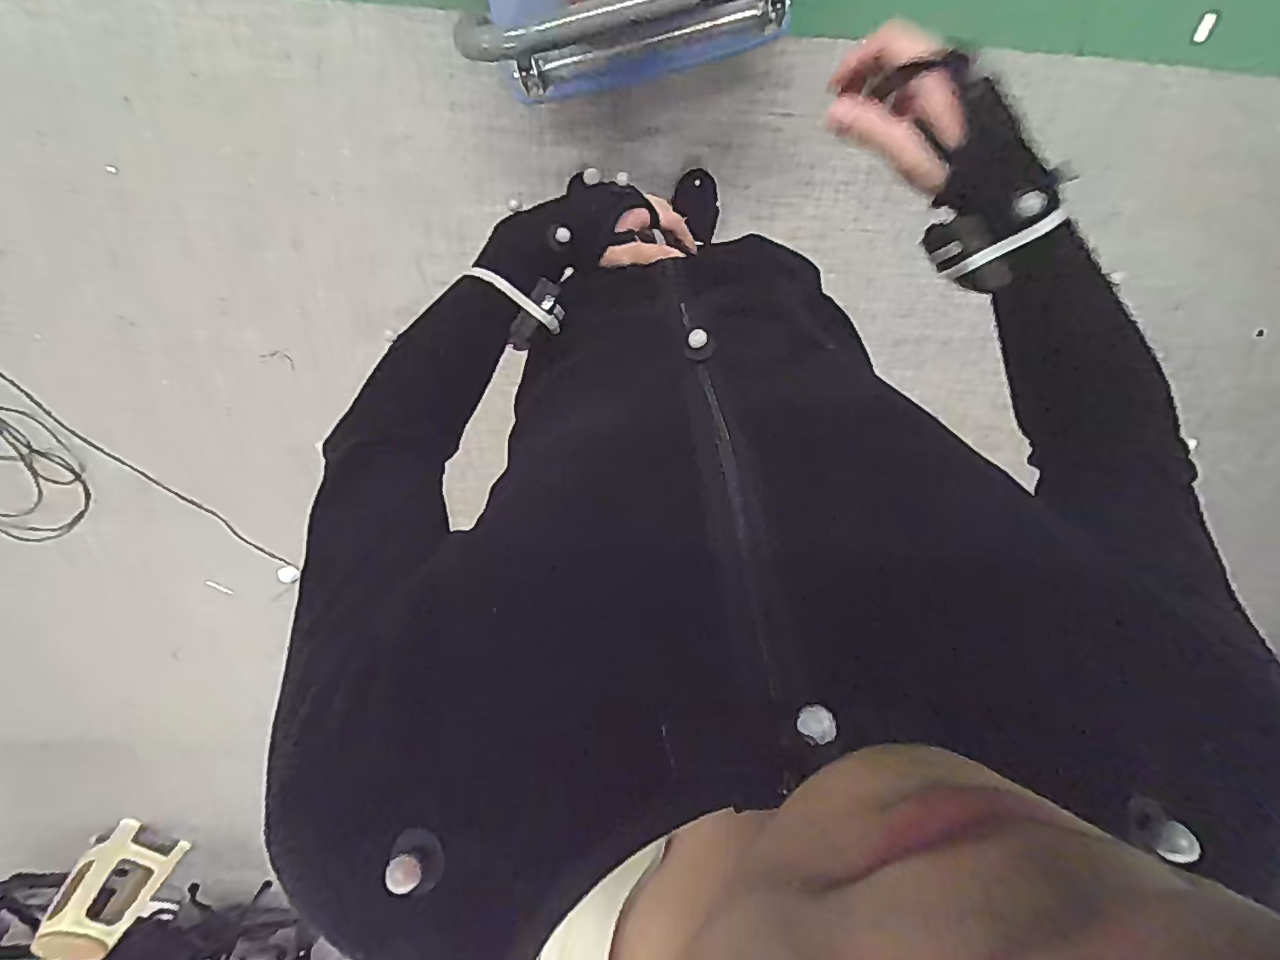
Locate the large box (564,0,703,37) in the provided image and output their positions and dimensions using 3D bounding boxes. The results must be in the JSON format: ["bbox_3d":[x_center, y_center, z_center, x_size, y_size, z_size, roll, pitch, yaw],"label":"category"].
[{"bbox_3d":[-0.020,-1.000,0.833,0.320,0.320,0.408,-11,119,5],"label":"large box"}]
